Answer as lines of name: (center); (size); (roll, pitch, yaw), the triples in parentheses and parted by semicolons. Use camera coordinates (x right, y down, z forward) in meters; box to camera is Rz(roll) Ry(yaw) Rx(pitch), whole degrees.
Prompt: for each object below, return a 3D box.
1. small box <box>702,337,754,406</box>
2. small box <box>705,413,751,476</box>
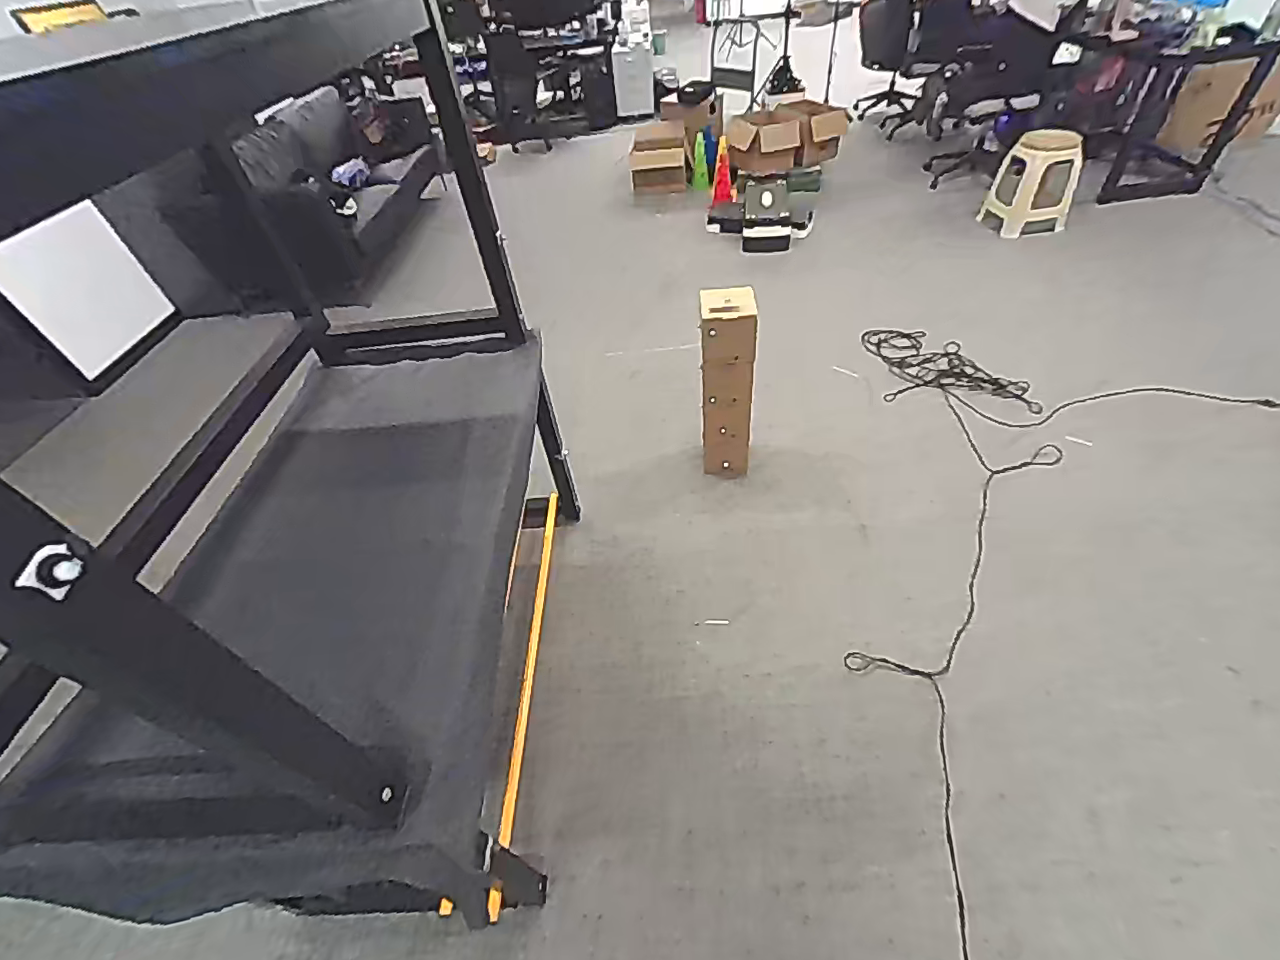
small box: (0.298, -0.363, 1.834); (0.168, 0.176, 0.179); (-2, 45, 6)
small box: (0.335, -0.136, 2.066); (0.168, 0.176, 0.179); (-1, 46, 9)
